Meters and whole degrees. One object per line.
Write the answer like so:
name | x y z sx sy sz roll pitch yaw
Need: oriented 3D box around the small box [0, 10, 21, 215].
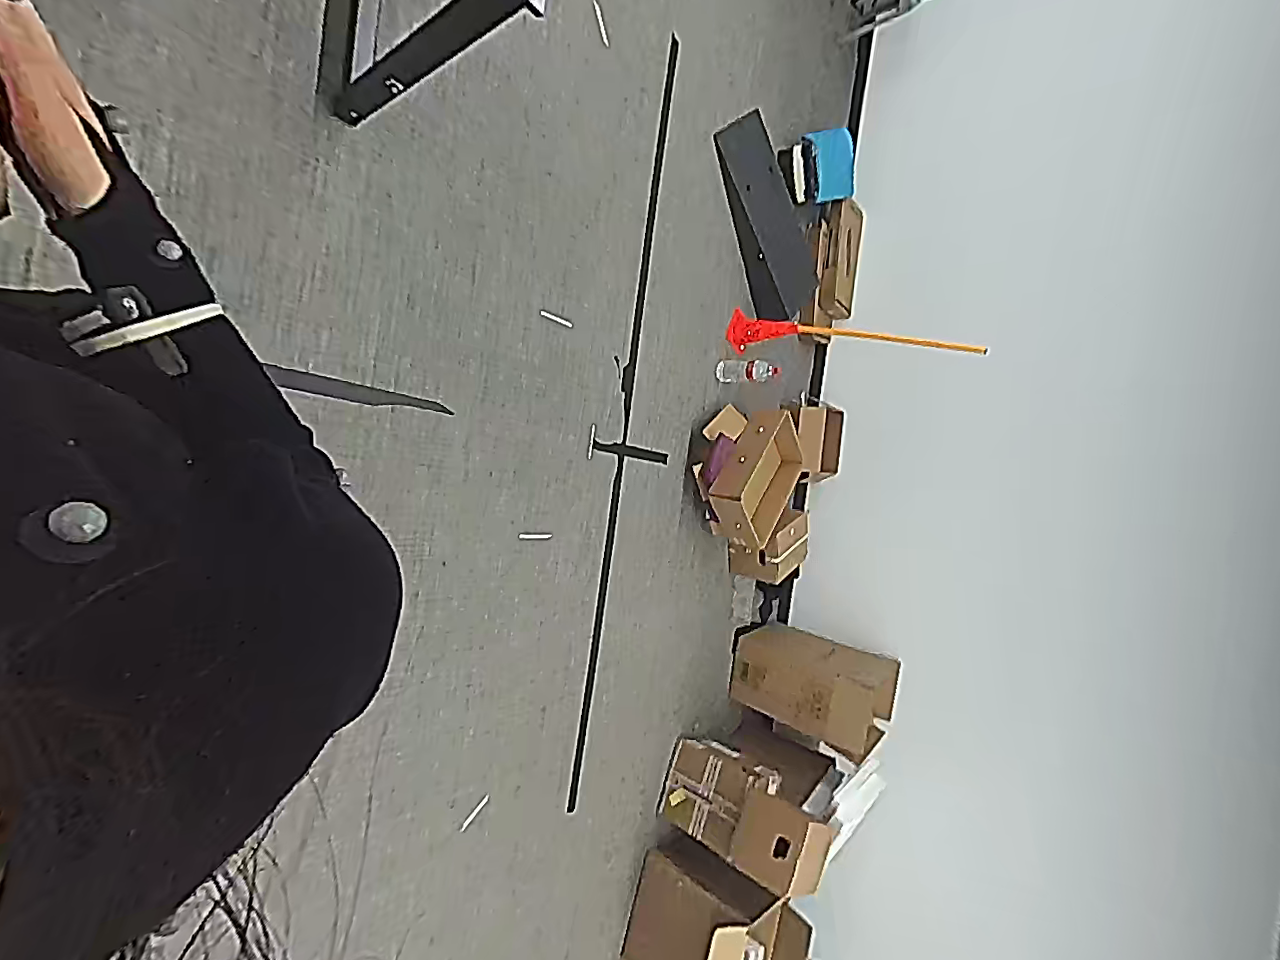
small box | -0.385 -0.232 0.216 0.168 0.176 0.179 -9 102 -48
